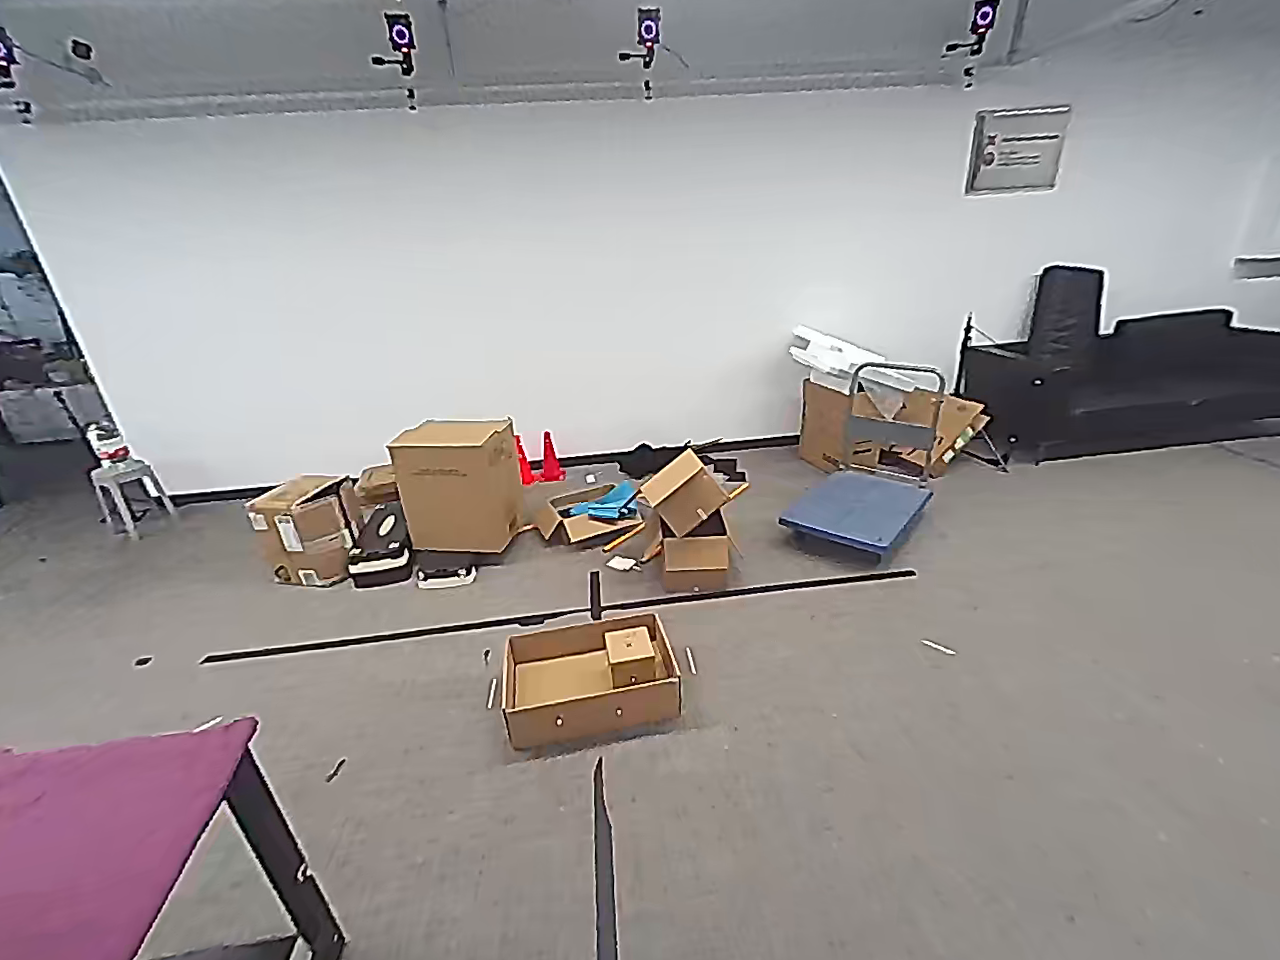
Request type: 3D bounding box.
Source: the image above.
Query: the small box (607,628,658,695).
[{"bbox_3d":[-0.028,0.692,2.047,0.168,0.176,0.179,-7,22,-8],"label":"small box"}]
